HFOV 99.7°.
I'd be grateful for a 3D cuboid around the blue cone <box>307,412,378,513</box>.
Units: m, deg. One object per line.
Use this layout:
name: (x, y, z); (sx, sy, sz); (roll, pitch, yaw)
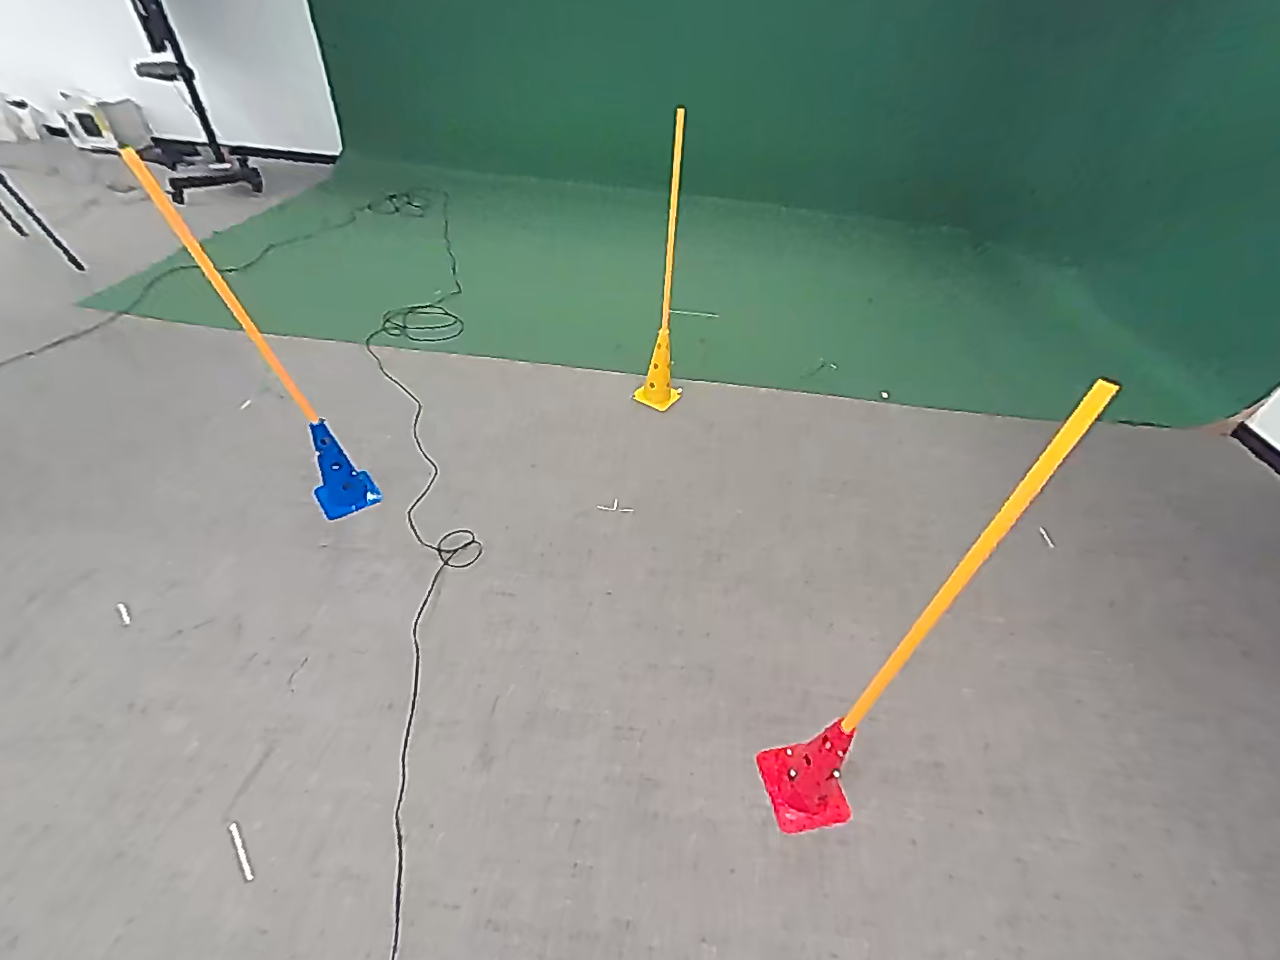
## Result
blue cone: (-1.093, -0.078, 1.919); (0.193, 0.380, 0.192); (-29, 54, -29)
